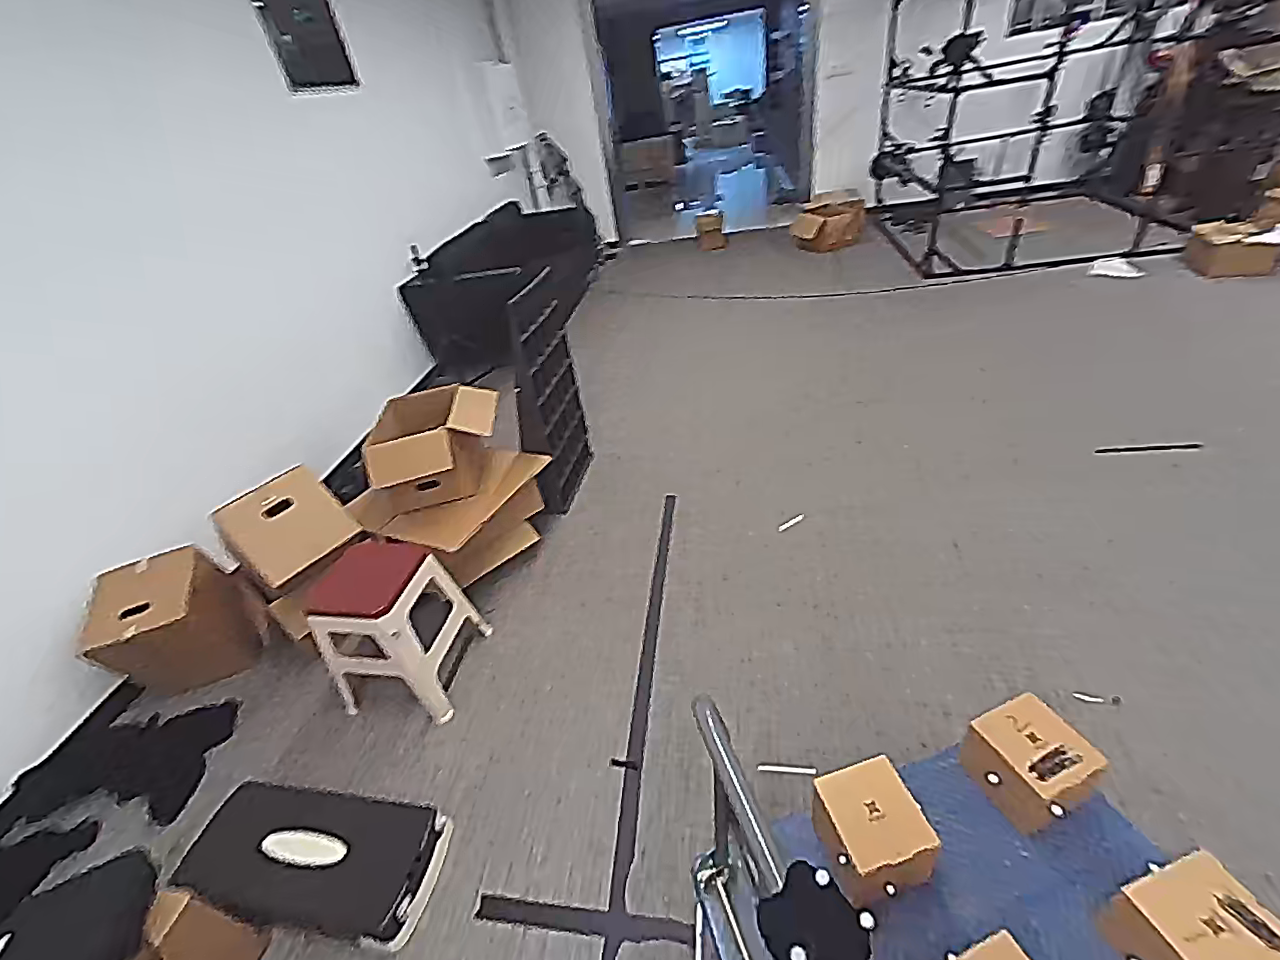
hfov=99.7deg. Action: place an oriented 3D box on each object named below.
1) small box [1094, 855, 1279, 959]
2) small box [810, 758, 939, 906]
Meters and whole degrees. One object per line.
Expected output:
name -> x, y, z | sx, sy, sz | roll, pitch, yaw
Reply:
small box -> 0.906, 0.764, 0.886 | 0.179, 0.176, 0.168 | -17, 35, -8
small box -> 0.456, 0.705, 1.086 | 0.168, 0.176, 0.179 | -15, 36, -7
